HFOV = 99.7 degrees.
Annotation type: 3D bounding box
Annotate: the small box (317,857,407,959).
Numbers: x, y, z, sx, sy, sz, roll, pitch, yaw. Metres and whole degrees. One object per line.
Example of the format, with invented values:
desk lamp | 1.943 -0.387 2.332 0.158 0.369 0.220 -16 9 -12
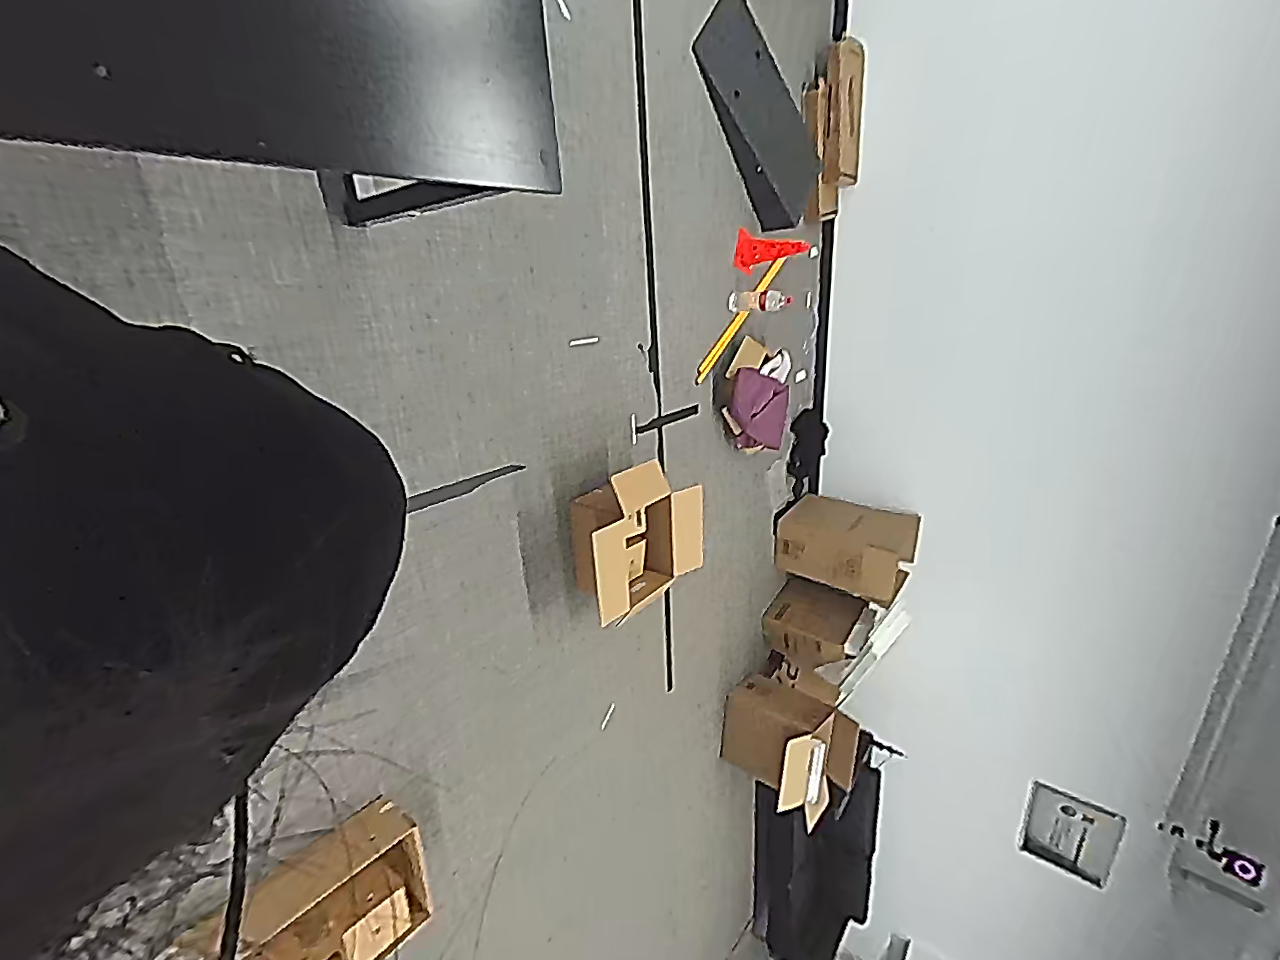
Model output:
small box | -0.839 1.299 1.633 0.179 0.176 0.168 -19 112 -47
